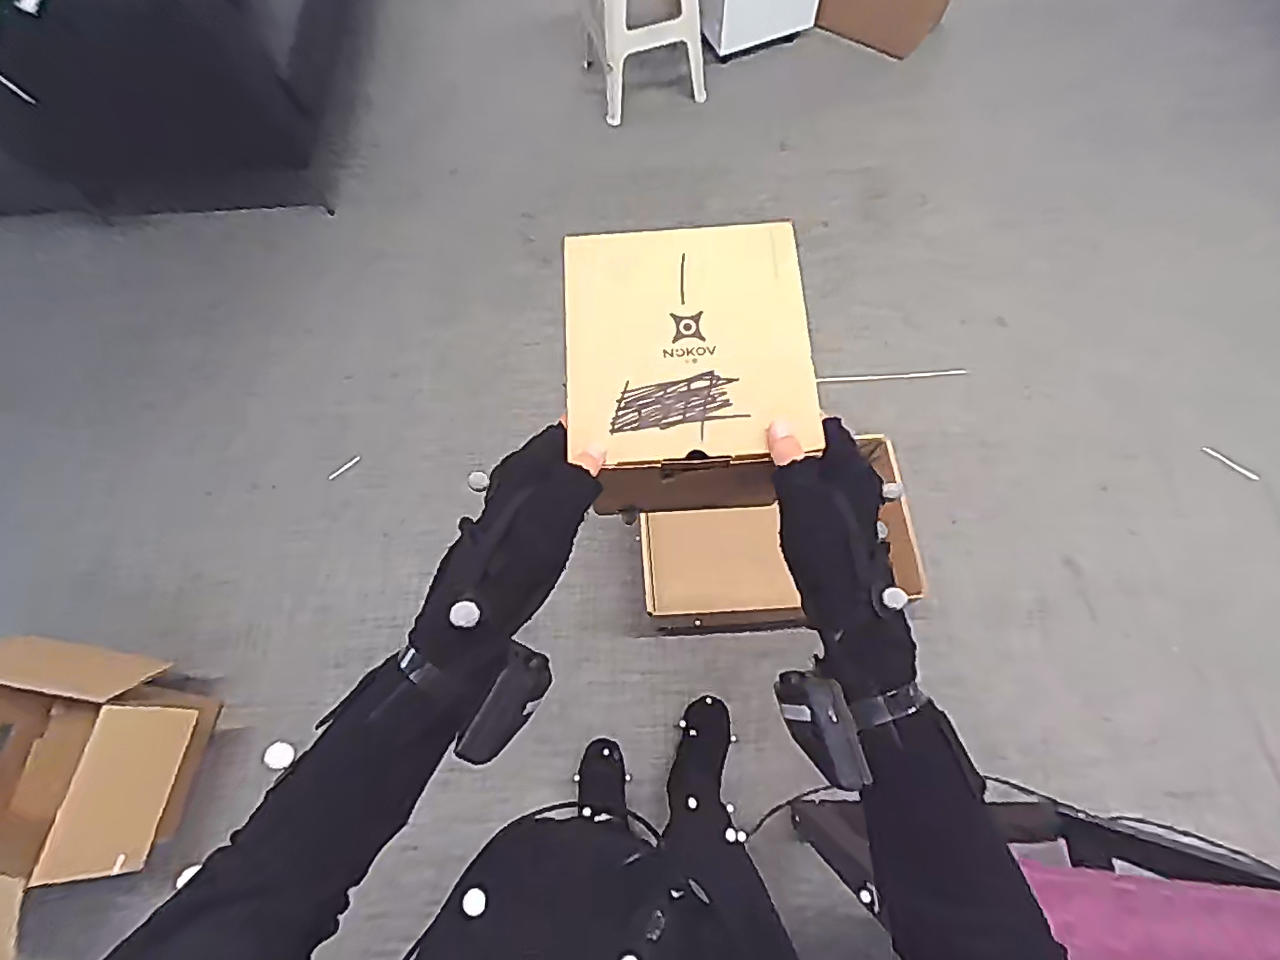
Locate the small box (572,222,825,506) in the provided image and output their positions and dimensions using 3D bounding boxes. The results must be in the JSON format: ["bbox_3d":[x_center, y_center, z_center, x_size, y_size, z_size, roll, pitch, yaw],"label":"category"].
[{"bbox_3d":[0.038,-0.078,0.446,0.168,0.176,0.179,-3,75,1],"label":"small box"}]
